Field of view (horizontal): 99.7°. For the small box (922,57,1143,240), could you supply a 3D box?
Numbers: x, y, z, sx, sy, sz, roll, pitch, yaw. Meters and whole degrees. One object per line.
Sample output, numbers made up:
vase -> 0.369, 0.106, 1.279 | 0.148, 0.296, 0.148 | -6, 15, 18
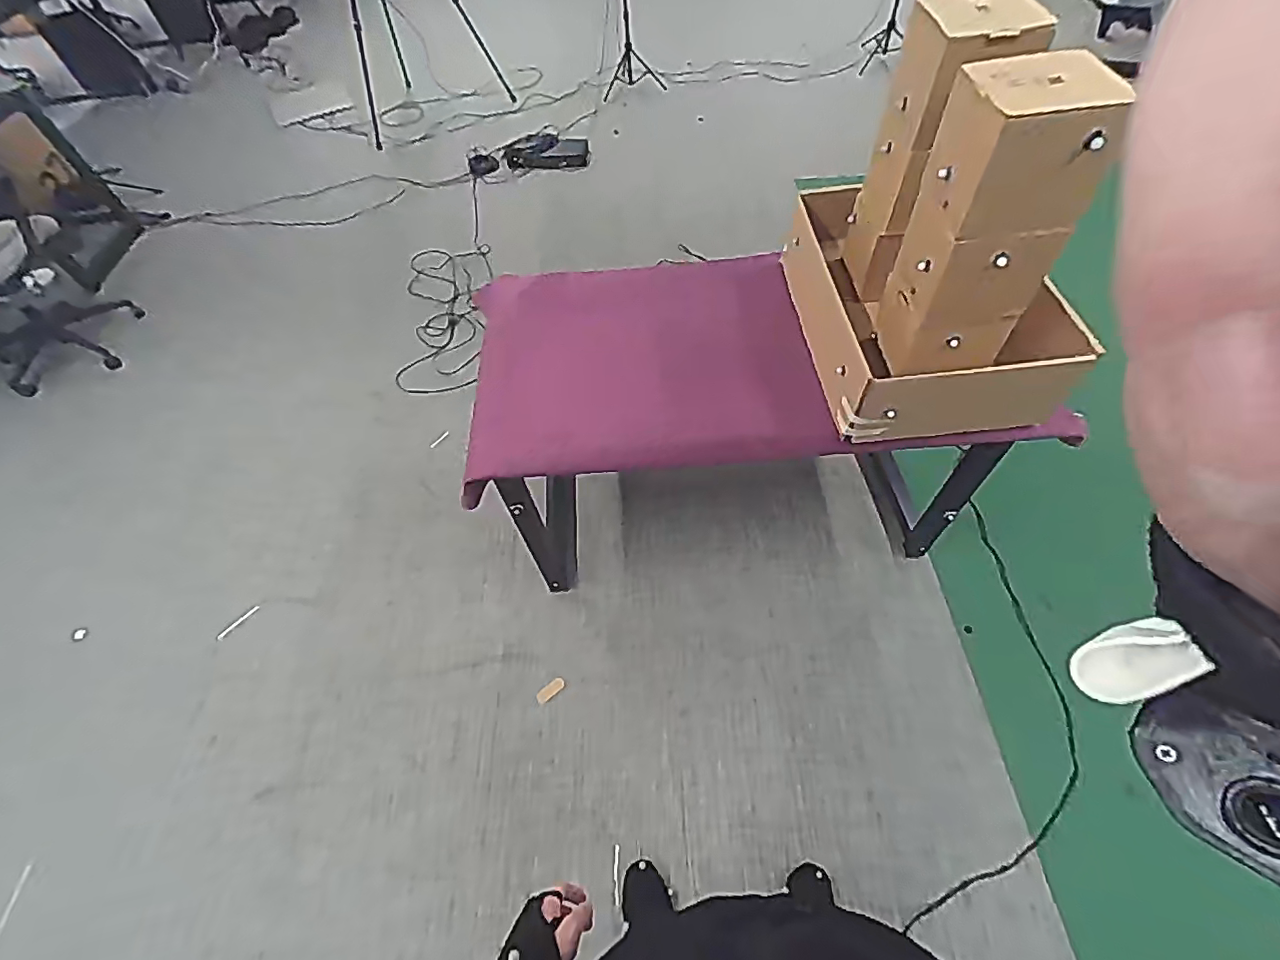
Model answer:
small box -> 0.548, -0.476, 0.788 | 0.179, 0.176, 0.168 | -4, 56, 4

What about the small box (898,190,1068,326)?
small box -> 0.562, -0.381, 0.922 | 0.179, 0.176, 0.168 | -3, 56, 4

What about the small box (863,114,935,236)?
small box -> 0.562, -0.604, 1.071 | 0.168, 0.176, 0.179 | -4, 57, 3

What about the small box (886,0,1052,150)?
small box -> 0.551, -0.695, 0.935 | 0.168, 0.176, 0.179 | -3, 58, 3
